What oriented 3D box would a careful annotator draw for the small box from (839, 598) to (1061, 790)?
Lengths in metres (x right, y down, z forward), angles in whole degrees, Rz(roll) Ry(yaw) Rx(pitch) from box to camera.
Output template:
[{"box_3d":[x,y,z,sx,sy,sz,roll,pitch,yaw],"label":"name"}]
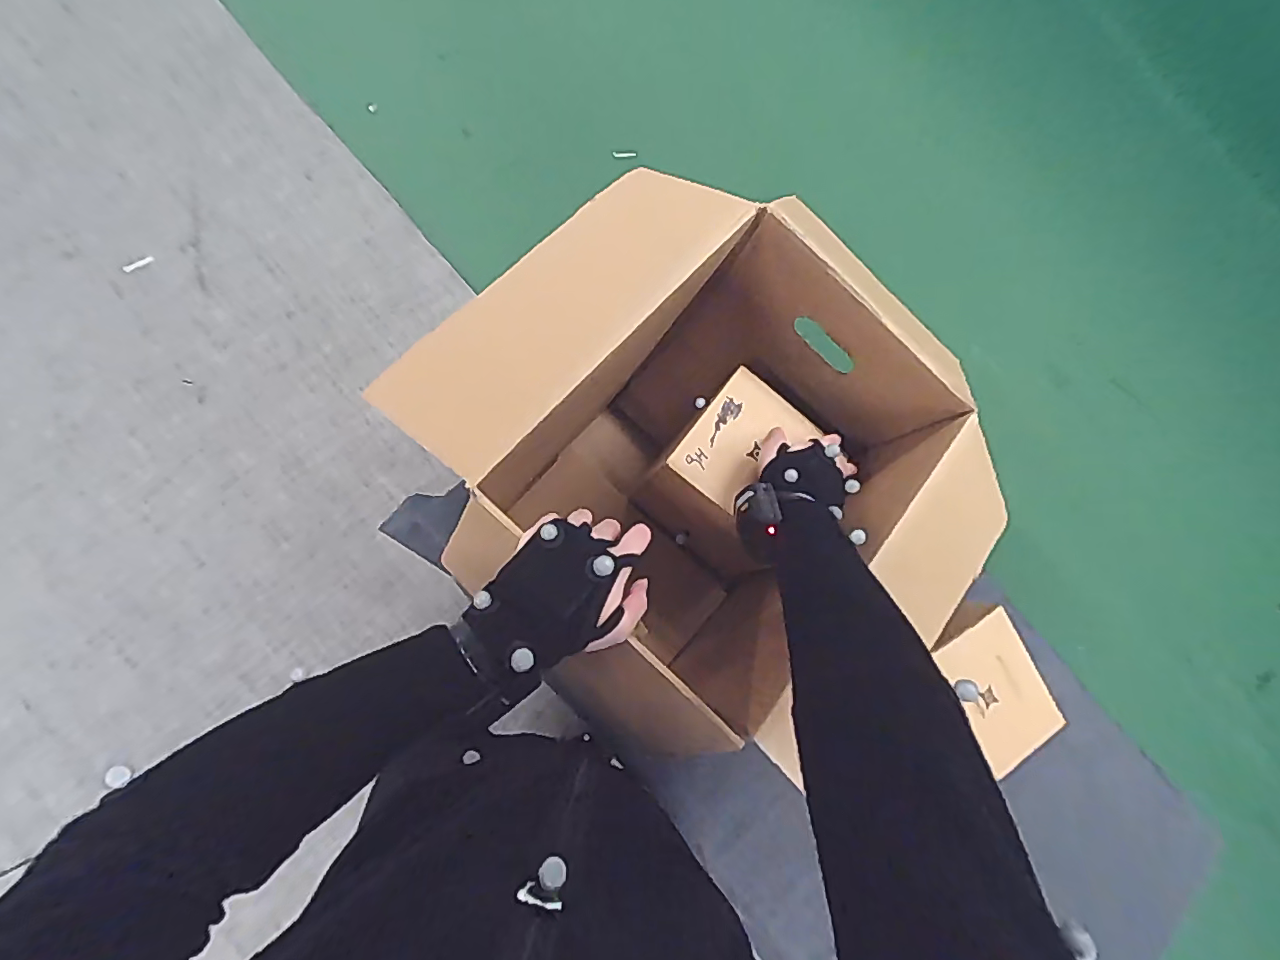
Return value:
[{"box_3d":[0.401,0.273,0.736,0.179,0.176,0.168,-25,87,-17],"label":"small box"}]
